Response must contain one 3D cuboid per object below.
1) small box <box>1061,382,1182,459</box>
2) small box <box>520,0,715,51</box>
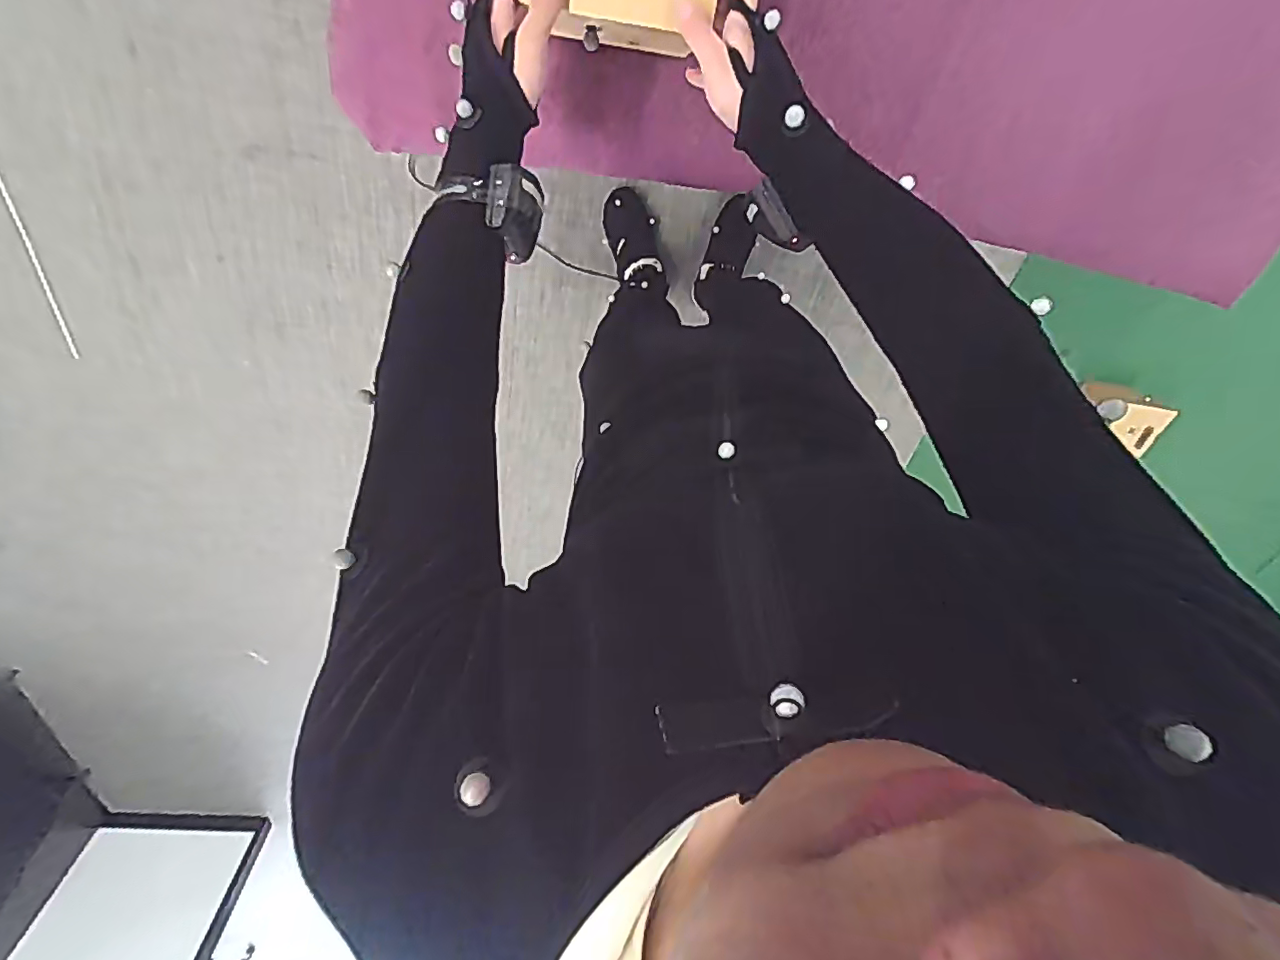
[{"bbox_3d":[1.455,-0.185,1.649,0.179,0.176,0.168,8,124,-7],"label":"small box"},{"bbox_3d":[-0.011,-0.502,0.475,0.168,0.176,0.179,5,124,-6],"label":"small box"}]
